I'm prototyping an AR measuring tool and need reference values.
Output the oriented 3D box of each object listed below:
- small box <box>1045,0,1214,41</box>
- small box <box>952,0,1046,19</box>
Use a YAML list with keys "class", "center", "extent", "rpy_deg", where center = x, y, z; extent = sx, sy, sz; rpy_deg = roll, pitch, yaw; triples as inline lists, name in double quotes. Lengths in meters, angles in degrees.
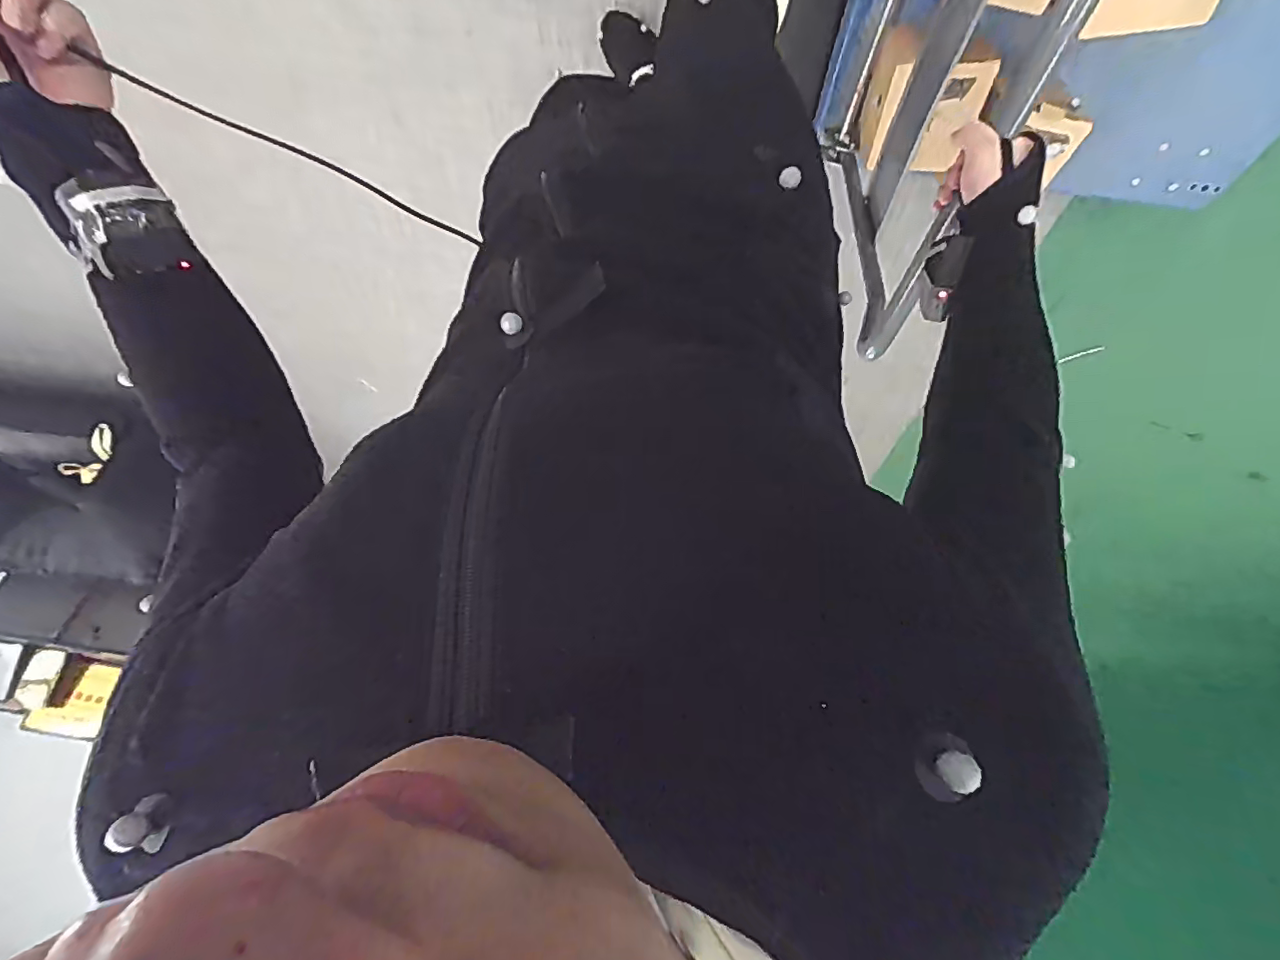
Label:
- class: "small box"
  center: [0.748, -0.788, 0.800]
  extent: [0.179, 0.176, 0.168]
  rpy_deg: [1, 147, 9]
- class: "small box"
  center: [0.537, -0.824, 0.791]
  extent: [0.179, 0.176, 0.168]
  rpy_deg: [10, 147, -3]
